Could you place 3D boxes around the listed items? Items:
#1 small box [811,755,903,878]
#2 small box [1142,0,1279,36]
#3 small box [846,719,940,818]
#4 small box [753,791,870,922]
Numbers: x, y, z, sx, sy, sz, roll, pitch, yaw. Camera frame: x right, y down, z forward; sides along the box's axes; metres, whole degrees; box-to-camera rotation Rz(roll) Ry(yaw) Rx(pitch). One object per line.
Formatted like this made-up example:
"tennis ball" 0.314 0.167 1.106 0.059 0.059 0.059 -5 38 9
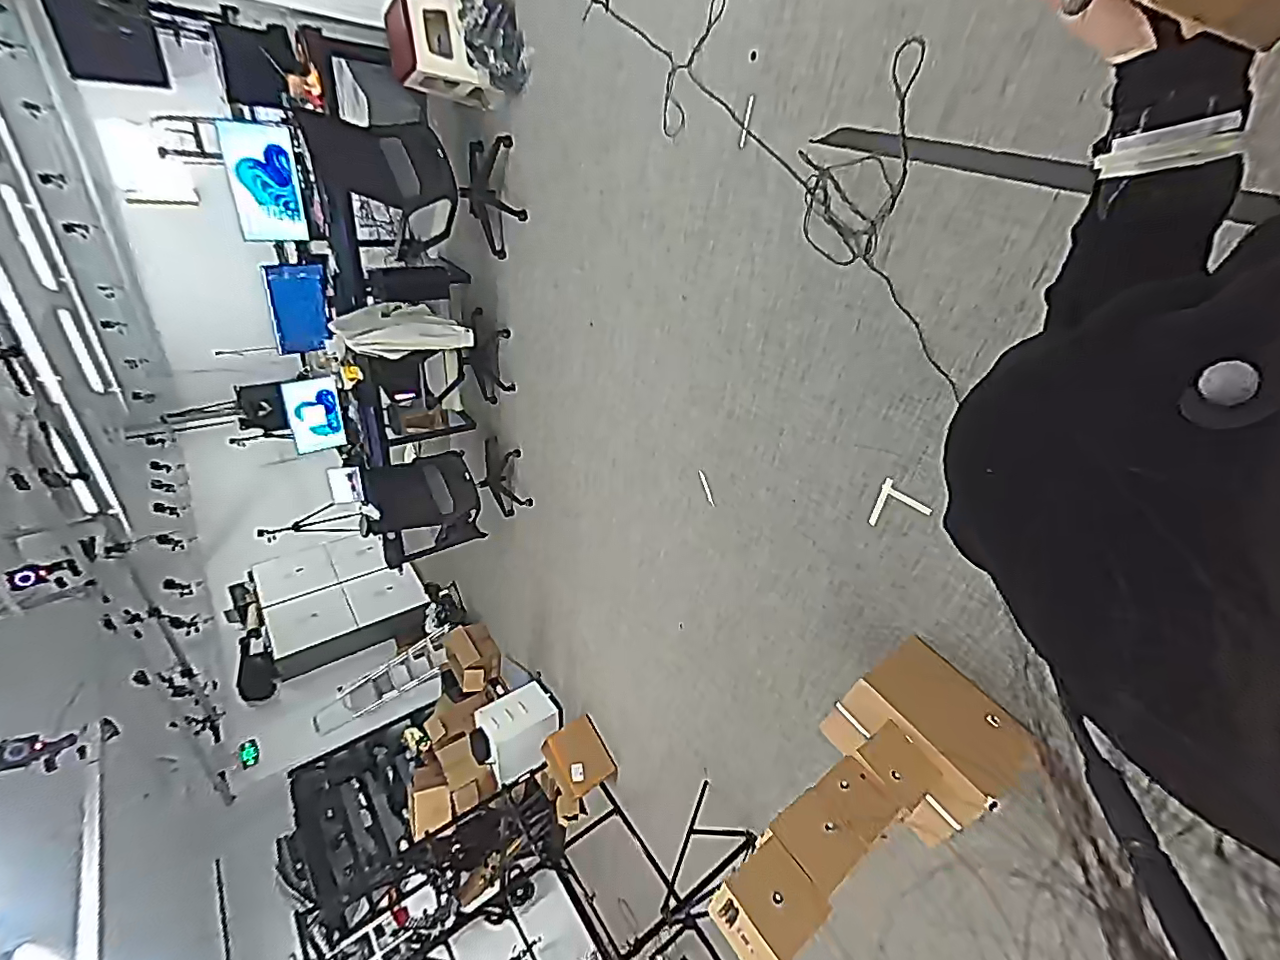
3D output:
"small box" 0.539 0.847 1.378 0.168 0.176 0.179 34 132 43
"small box" 0.244 -0.315 0.208 0.168 0.176 0.179 58 149 25
"small box" 0.666 0.790 1.463 0.179 0.176 0.168 48 139 32
"small box" 0.406 0.883 1.289 0.179 0.176 0.168 40 135 39
